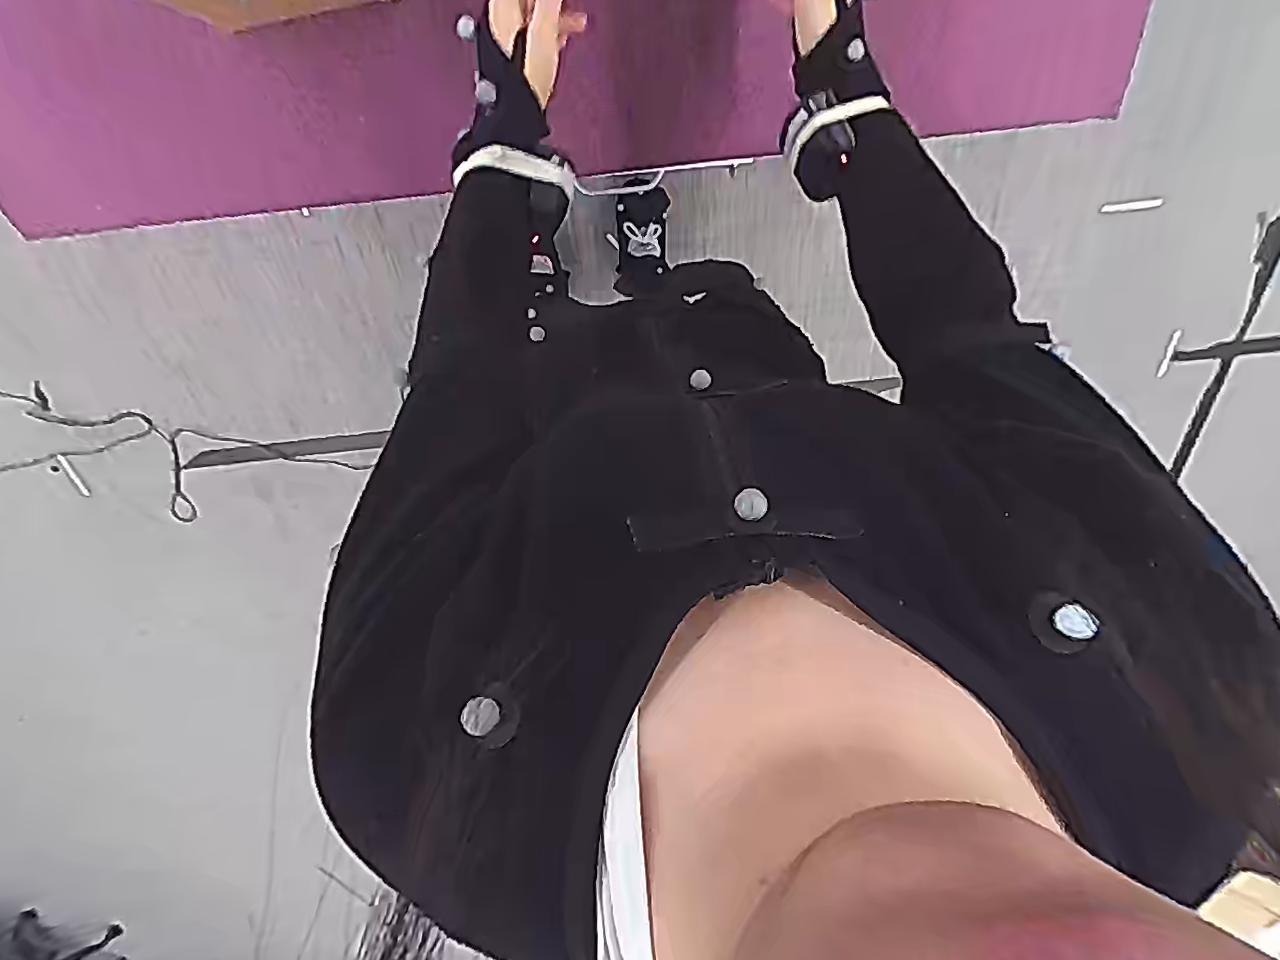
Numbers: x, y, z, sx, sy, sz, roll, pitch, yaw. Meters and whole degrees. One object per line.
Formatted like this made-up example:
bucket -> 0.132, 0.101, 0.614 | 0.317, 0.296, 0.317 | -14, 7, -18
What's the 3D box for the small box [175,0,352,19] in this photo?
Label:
small box -> -0.310, -0.473, 0.398 | 0.179, 0.176, 0.168 | -10, 120, 1
